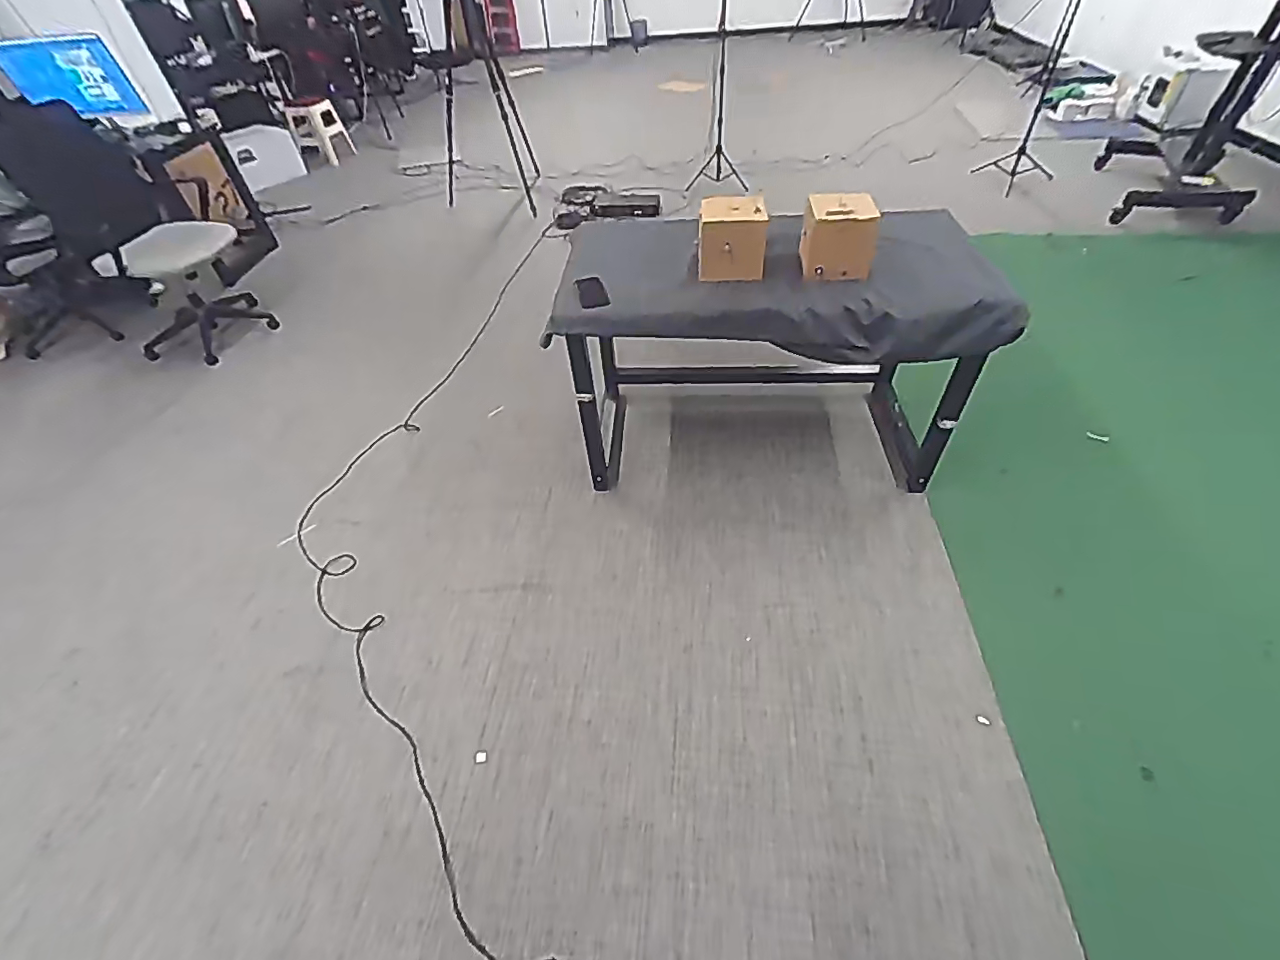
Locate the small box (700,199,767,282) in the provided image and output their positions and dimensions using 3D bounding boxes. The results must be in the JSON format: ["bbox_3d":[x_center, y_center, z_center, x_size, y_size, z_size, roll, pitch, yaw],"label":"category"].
[{"bbox_3d":[0.259,-0.673,1.529,0.179,0.176,0.168,0,47,5],"label":"small box"}]

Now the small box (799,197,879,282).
[{"bbox_3d":[0.544,-0.665,1.501,0.168,0.176,0.179,2,46,6],"label":"small box"}]
